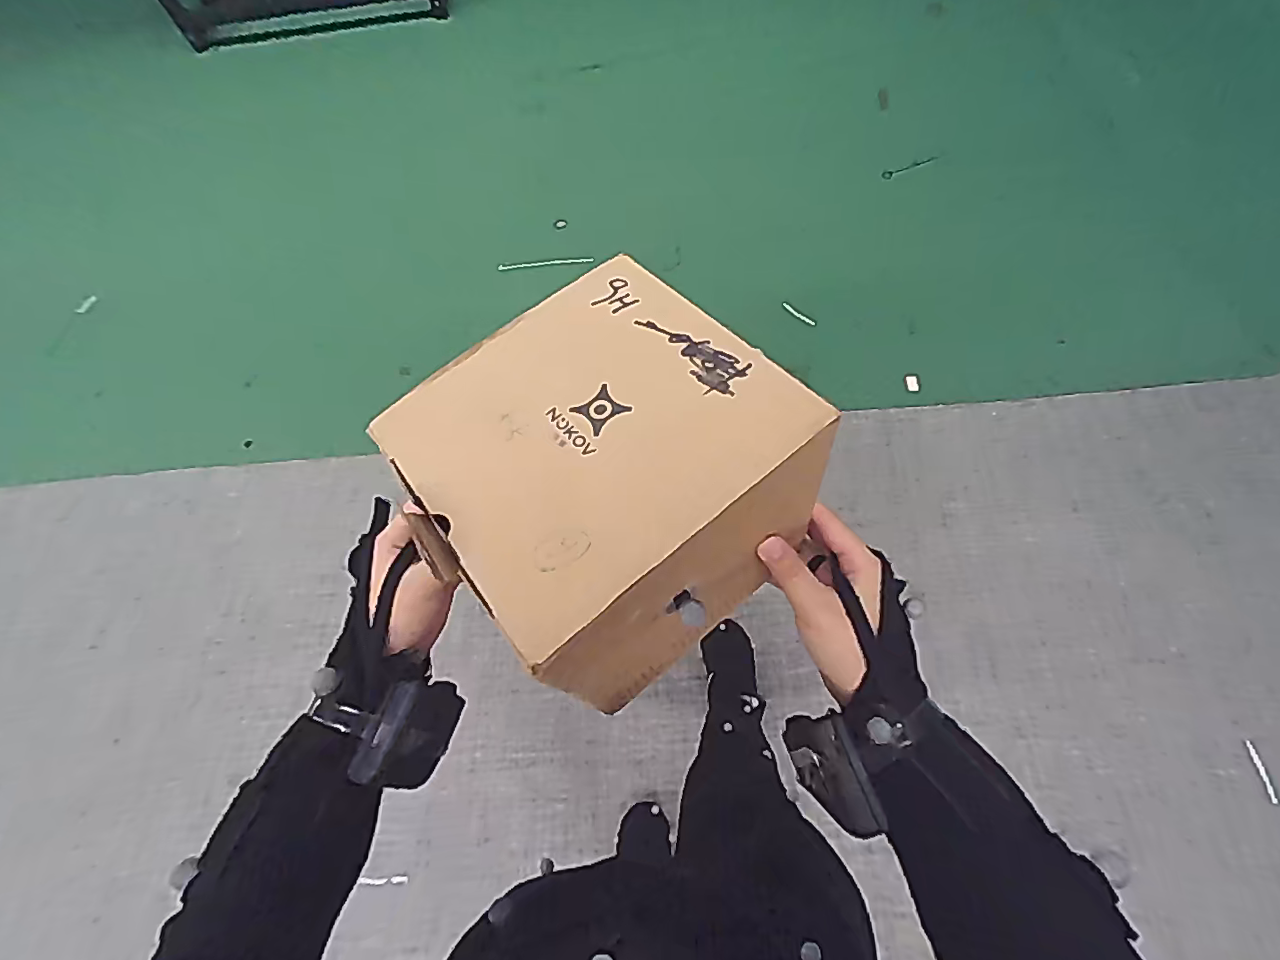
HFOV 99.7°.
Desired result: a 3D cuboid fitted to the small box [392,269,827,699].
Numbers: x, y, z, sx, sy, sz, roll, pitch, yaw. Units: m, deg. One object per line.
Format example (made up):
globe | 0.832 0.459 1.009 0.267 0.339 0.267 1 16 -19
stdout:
small box | -0.010 0.012 0.344 0.179 0.176 0.168 -38 61 -12
